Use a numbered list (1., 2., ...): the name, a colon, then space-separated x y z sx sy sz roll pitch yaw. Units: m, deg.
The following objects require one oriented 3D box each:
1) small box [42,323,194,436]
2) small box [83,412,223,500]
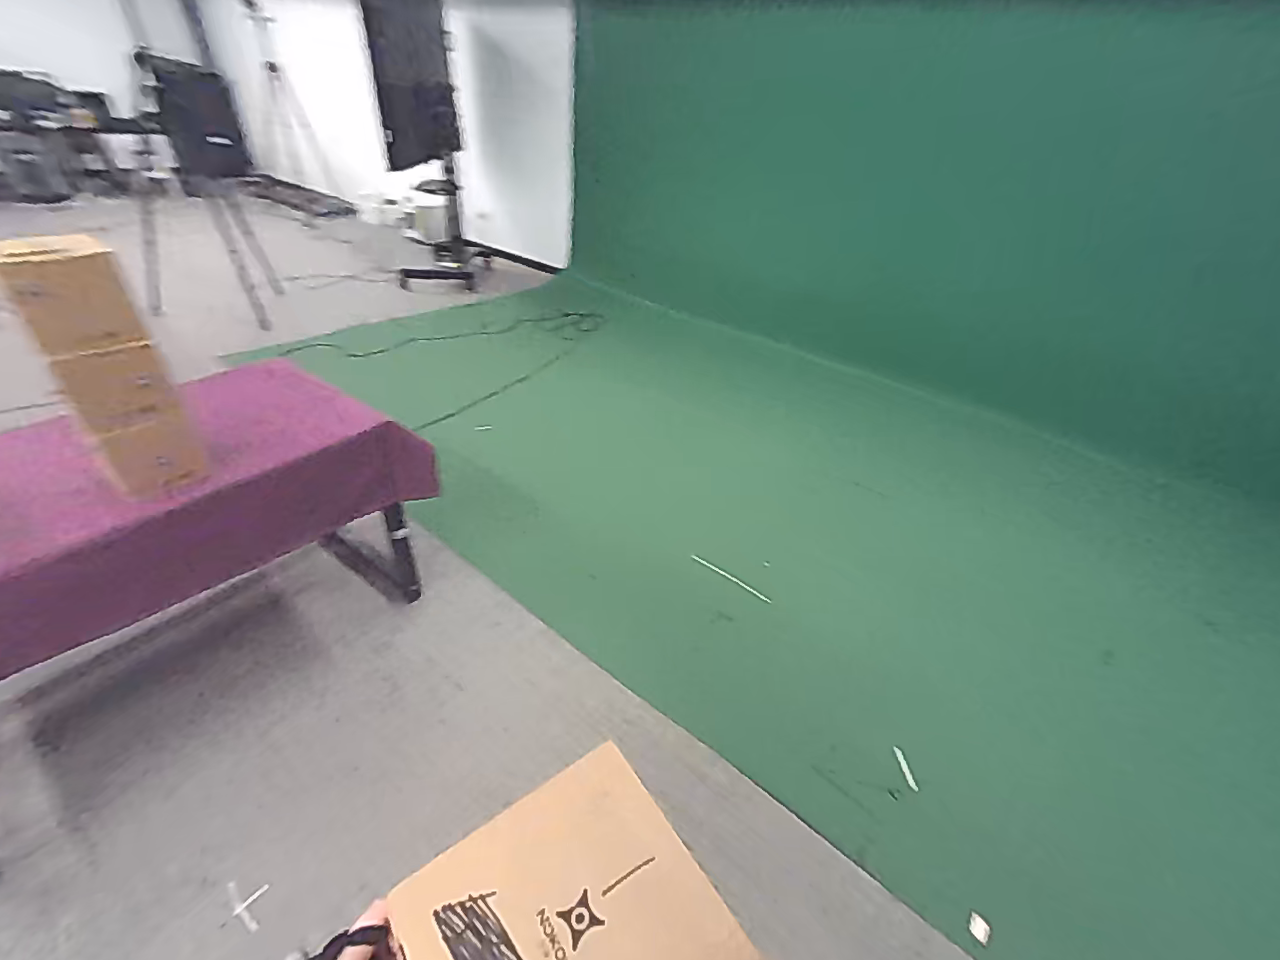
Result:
1. small box: -1.091 -0.211 1.141 0.179 0.176 0.168 28 41 30
2. small box: -1.099 -0.075 1.233 0.179 0.176 0.168 27 40 28
